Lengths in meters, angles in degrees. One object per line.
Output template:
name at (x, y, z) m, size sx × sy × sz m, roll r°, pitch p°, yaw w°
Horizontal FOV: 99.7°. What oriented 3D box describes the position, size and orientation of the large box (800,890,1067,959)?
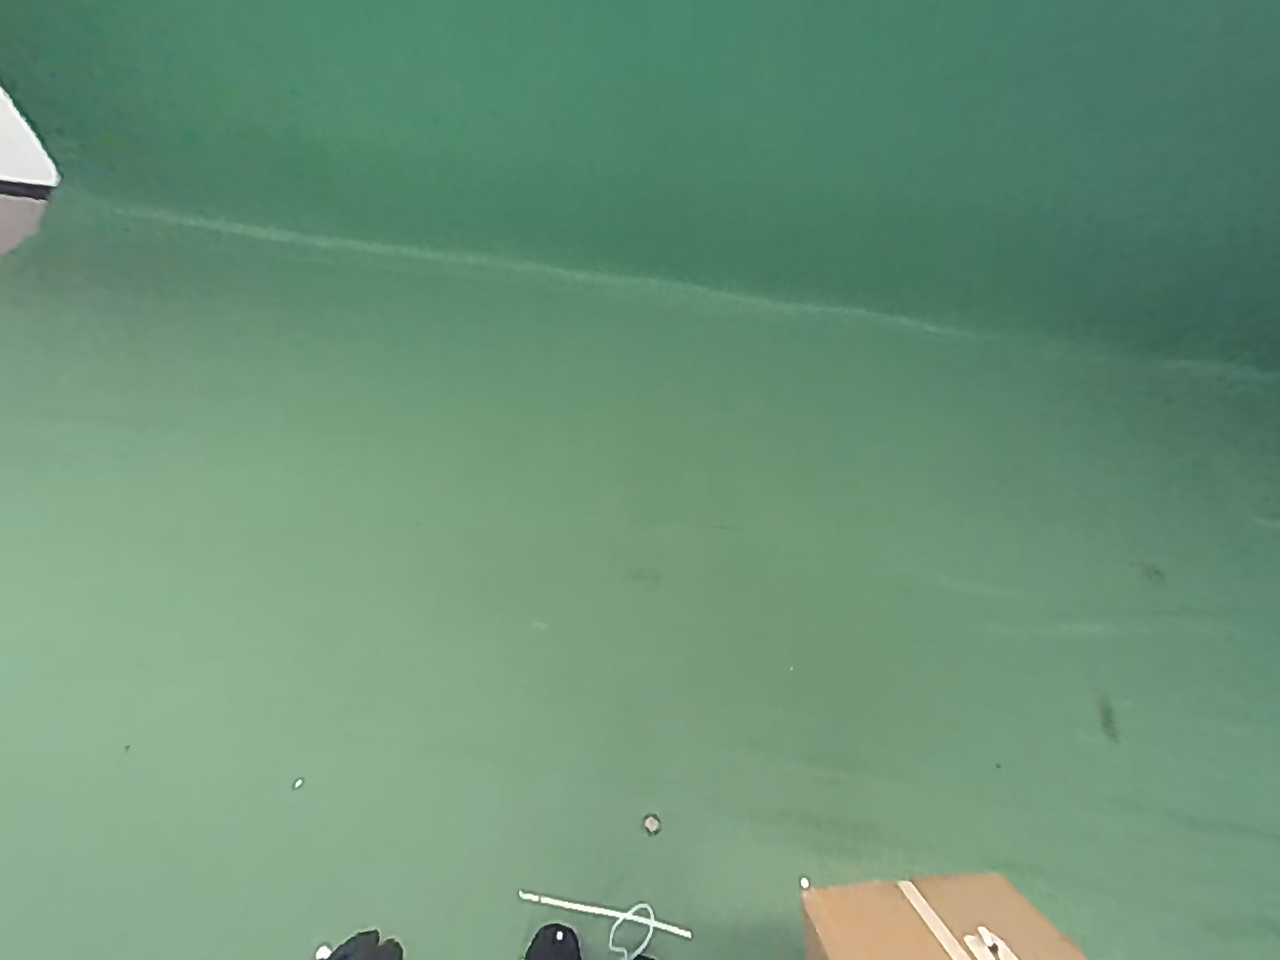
large box at (0.409, 0.767, 0.610) m, size 0.320 × 0.408 × 0.320 m, roll -2°, pitch 85°, yaw -2°
